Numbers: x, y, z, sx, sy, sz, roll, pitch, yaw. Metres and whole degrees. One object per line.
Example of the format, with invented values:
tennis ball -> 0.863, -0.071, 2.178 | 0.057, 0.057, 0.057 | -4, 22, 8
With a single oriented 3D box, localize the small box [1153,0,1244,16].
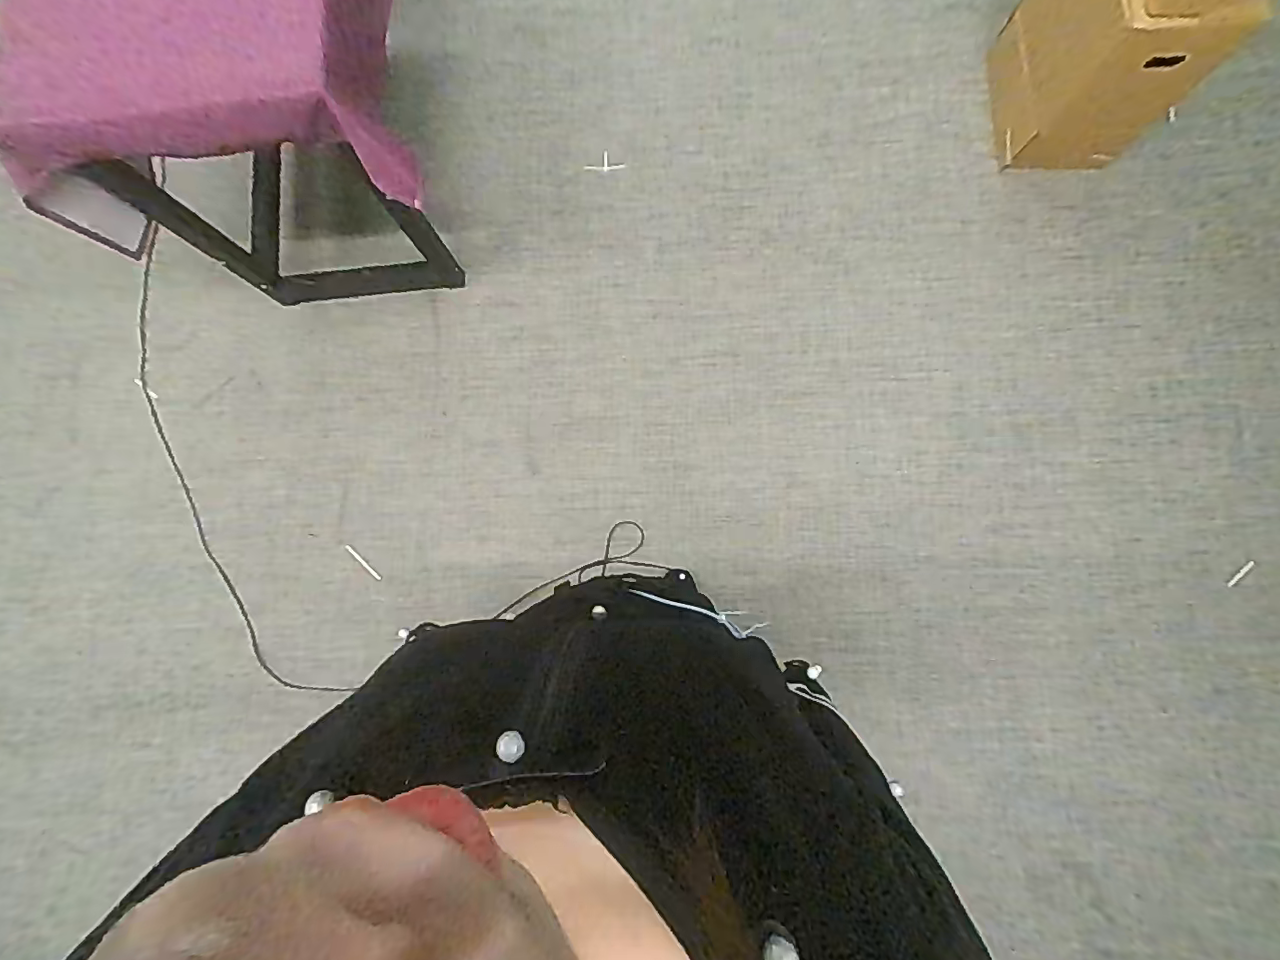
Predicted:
small box -> 1.209, -1.104, 1.113 | 0.179, 0.176, 0.168 | 2, 81, 2
